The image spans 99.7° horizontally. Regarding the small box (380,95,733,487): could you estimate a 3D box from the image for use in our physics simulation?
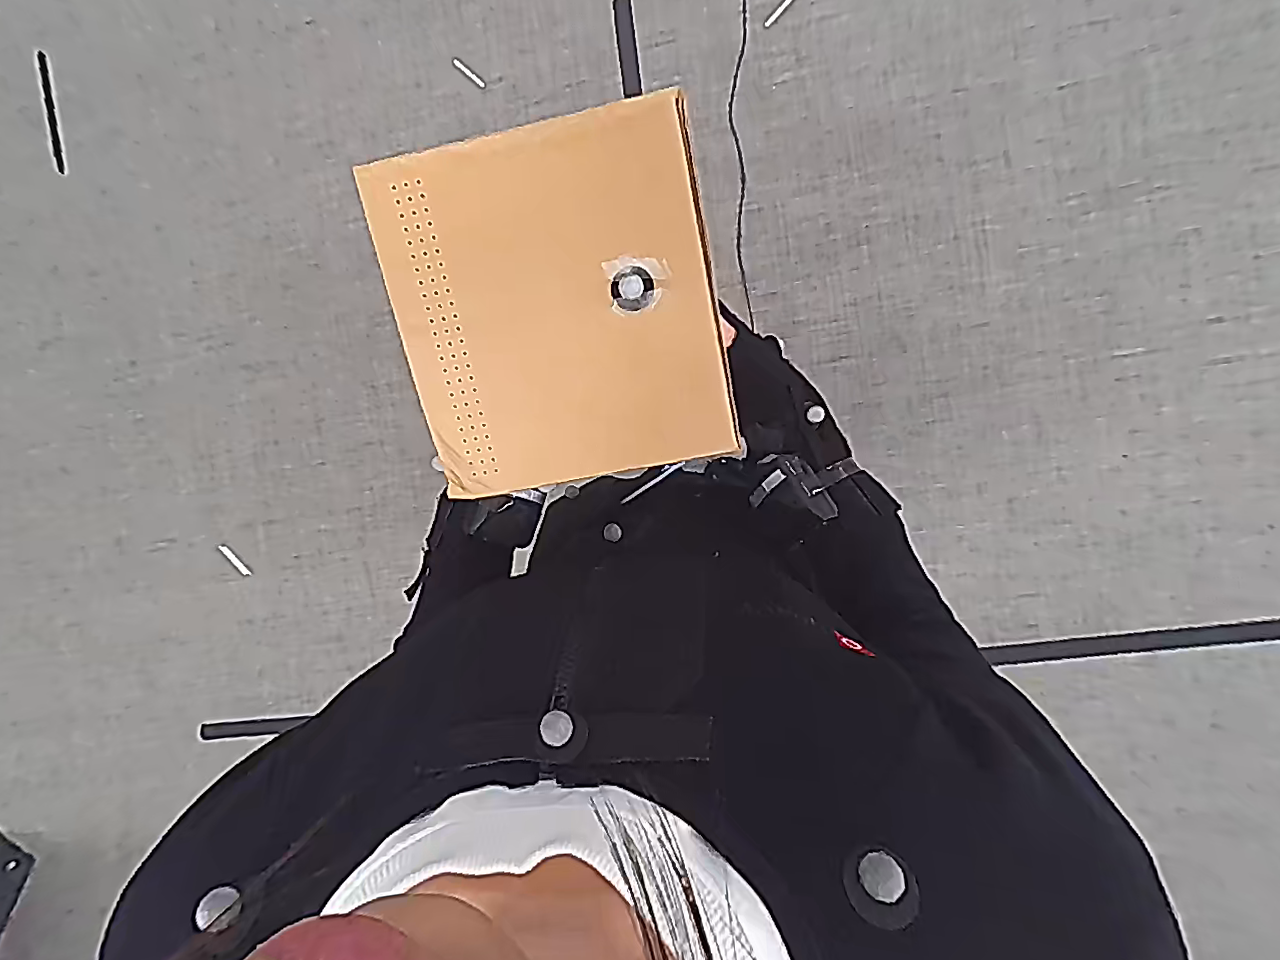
[{"bbox_3d":[-0.043,-0.109,0.364,0.176,0.168,0.179,-10,103,6],"label":"small box"}]
